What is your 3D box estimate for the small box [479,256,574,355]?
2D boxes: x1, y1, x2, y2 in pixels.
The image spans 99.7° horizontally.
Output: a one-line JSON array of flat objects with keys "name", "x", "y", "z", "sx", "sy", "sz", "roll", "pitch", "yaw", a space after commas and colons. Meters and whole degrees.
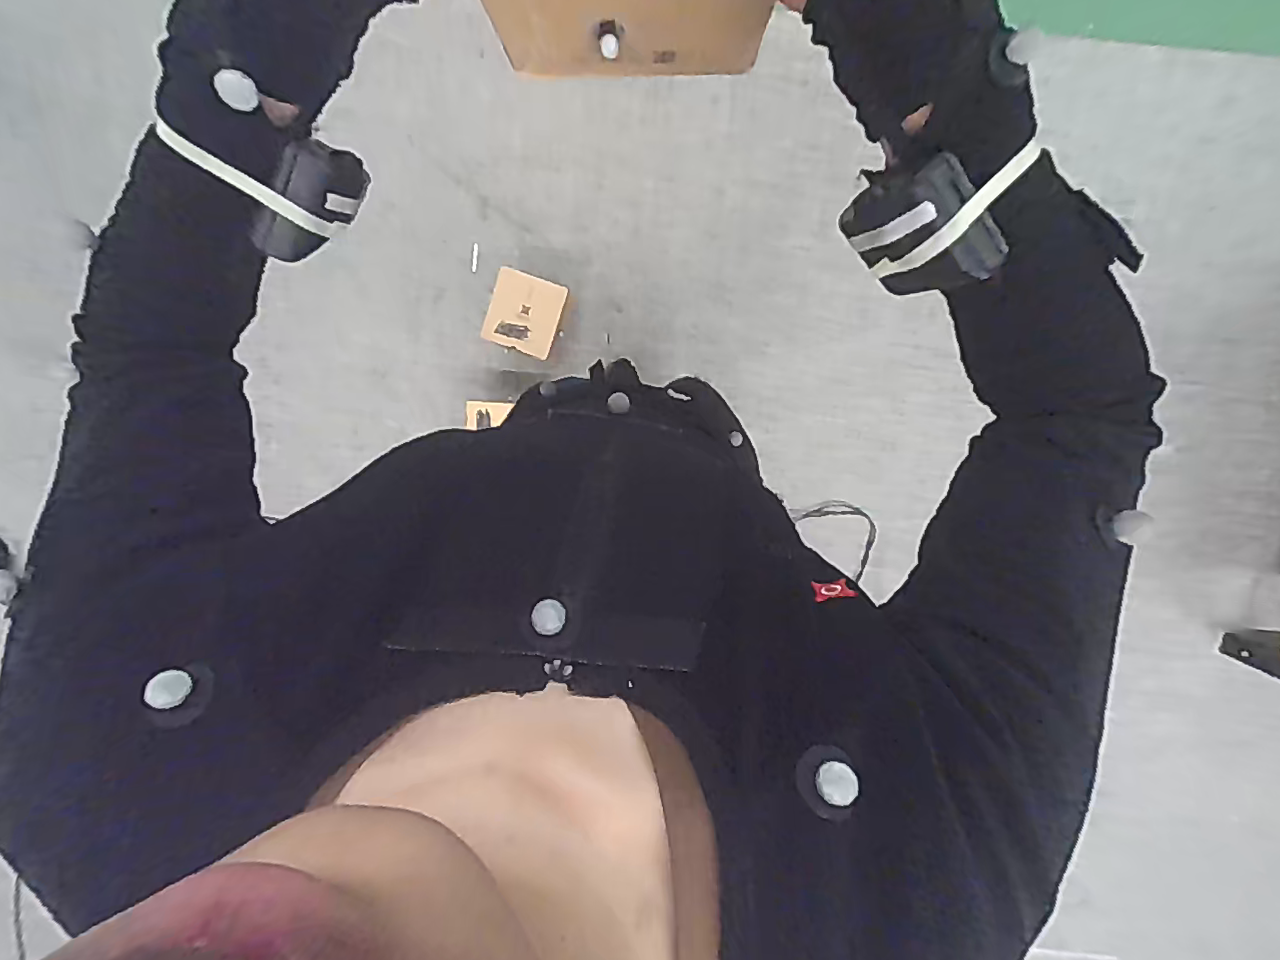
[{"name": "small box", "x": -0.269, "y": -0.415, "z": 1.322, "sx": 0.168, "sy": 0.176, "sz": 0.179, "roll": 19, "pitch": 99, "yaw": -3}]
